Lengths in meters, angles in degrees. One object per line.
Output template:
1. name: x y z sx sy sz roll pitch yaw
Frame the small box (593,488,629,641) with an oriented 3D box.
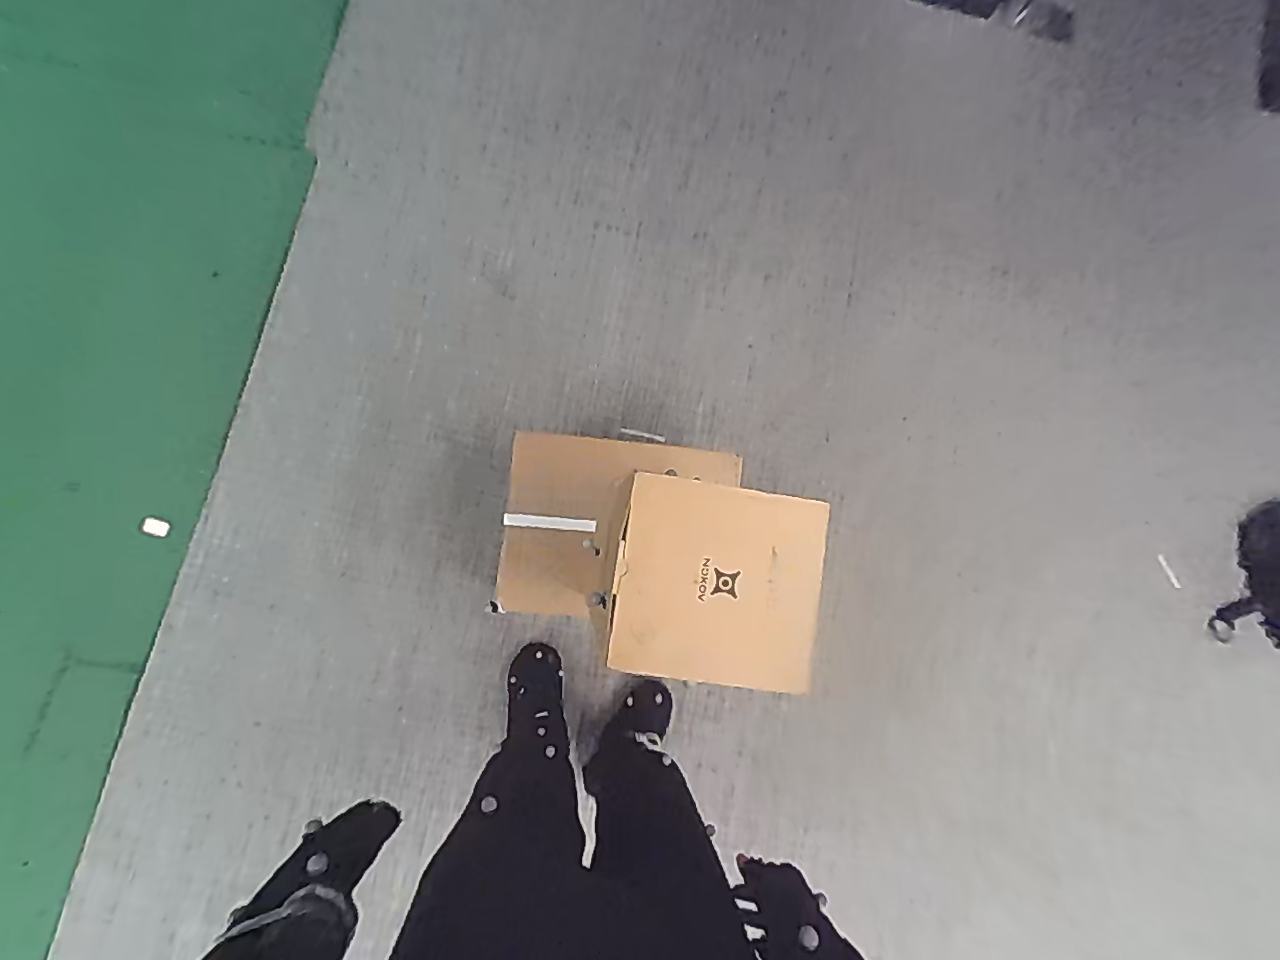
1. small box: 0.031 0.114 0.705 0.168 0.176 0.179 8 82 -6

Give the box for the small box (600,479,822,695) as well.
1. small box: 0.058 0.101 0.544 0.179 0.176 0.168 9 83 -7
